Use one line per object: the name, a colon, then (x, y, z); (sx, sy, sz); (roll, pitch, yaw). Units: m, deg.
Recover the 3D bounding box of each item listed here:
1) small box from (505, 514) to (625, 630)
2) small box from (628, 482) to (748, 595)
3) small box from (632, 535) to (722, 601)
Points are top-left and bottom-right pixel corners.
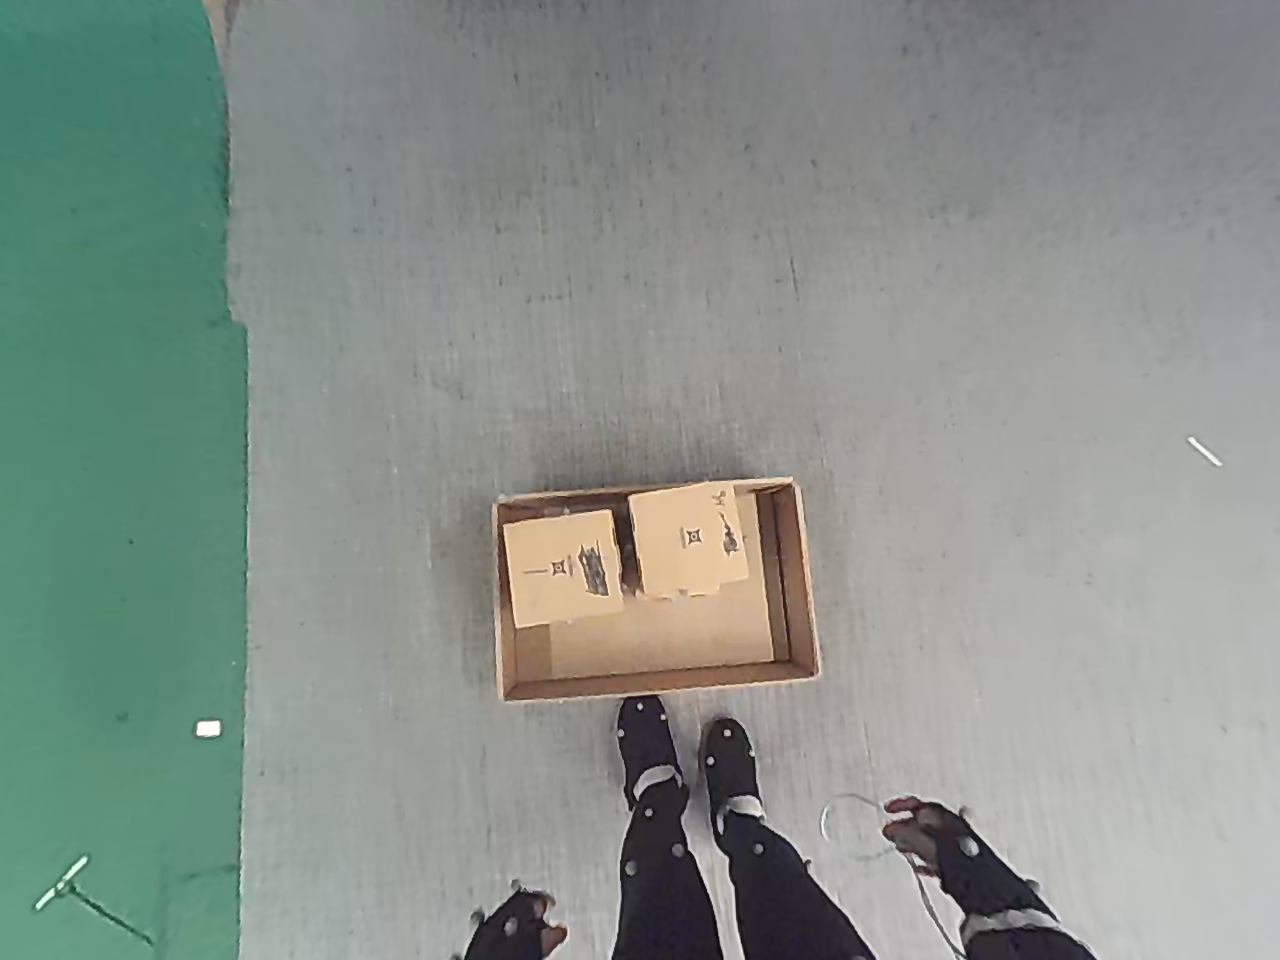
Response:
small box: (-0.124, 0.153, 0.936); (0.179, 0.176, 0.168); (-8, 82, -3)
small box: (0.078, 0.107, 0.950); (0.179, 0.176, 0.168); (-9, 81, -1)
small box: (0.068, 0.151, 1.109); (0.168, 0.176, 0.179); (-4, 82, -1)
